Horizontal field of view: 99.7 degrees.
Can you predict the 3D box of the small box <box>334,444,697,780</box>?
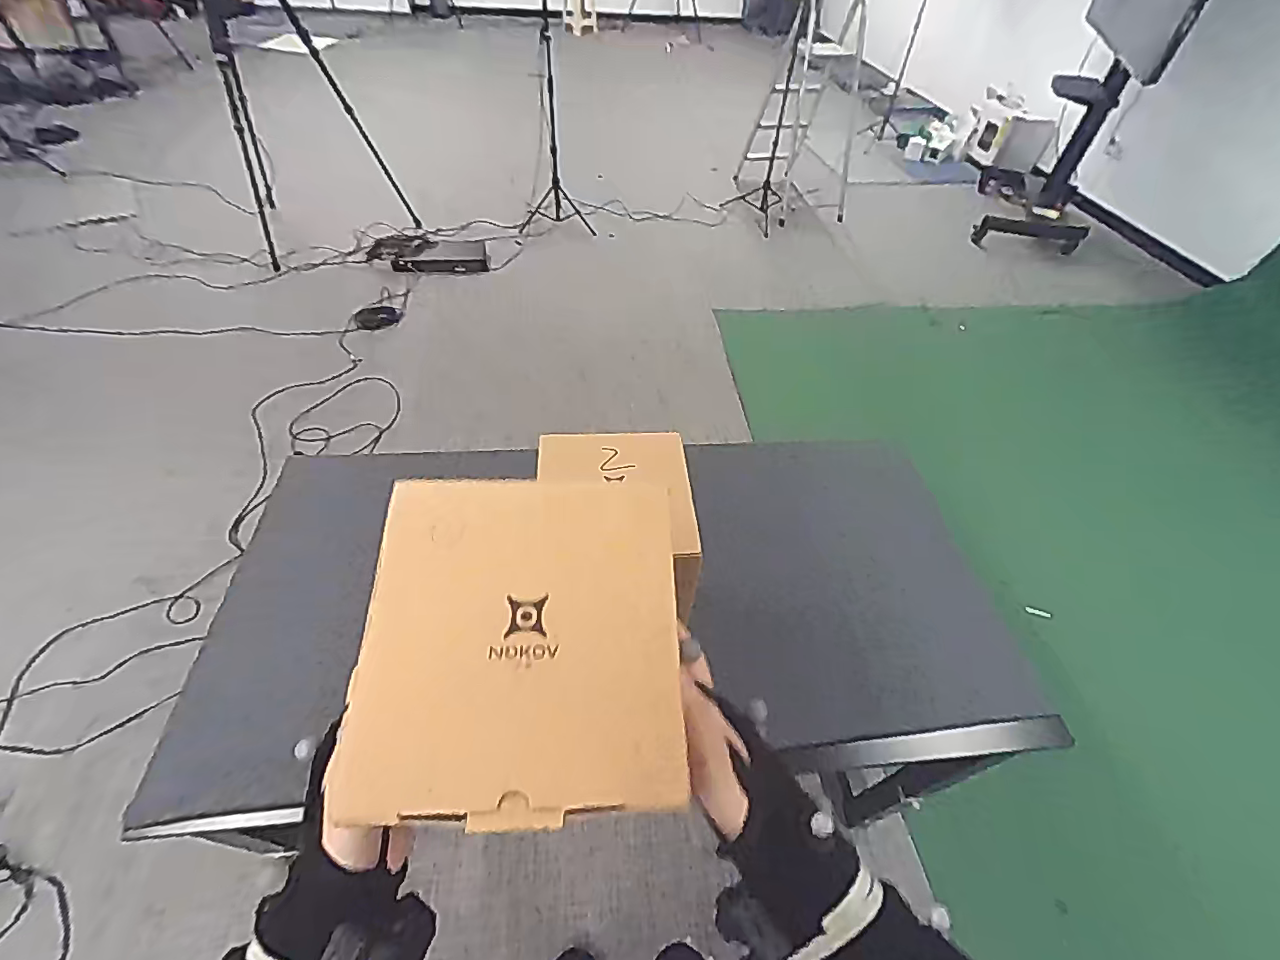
[{"bbox_3d":[-0.063,0.093,0.353,0.168,0.176,0.179,-1,62,-5],"label":"small box"}]
